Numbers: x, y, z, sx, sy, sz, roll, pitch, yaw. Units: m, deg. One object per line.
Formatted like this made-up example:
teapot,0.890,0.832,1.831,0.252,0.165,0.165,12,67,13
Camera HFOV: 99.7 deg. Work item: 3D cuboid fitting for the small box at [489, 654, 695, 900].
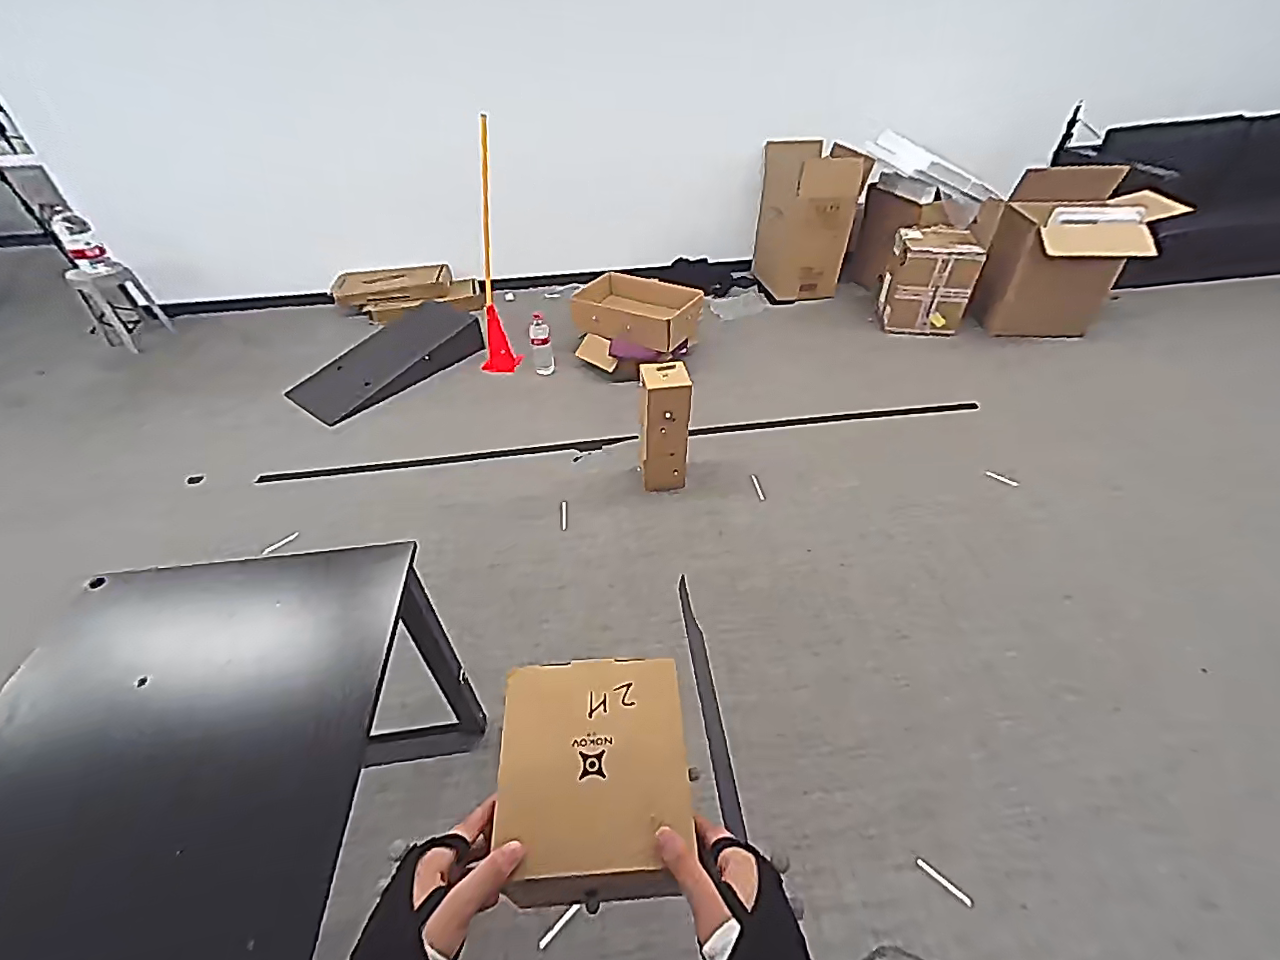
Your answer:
small box,-0.041,0.296,0.535,0.168,0.176,0.179,-3,45,-3

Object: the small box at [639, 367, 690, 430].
small box,0.089,-0.309,2.043,0.168,0.176,0.179,-7,41,-6

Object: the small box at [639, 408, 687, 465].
small box,0.089,-0.183,2.150,0.168,0.176,0.179,-7,40,-6

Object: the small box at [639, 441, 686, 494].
small box,0.092,-0.059,2.258,0.179,0.176,0.168,-7,40,-4
